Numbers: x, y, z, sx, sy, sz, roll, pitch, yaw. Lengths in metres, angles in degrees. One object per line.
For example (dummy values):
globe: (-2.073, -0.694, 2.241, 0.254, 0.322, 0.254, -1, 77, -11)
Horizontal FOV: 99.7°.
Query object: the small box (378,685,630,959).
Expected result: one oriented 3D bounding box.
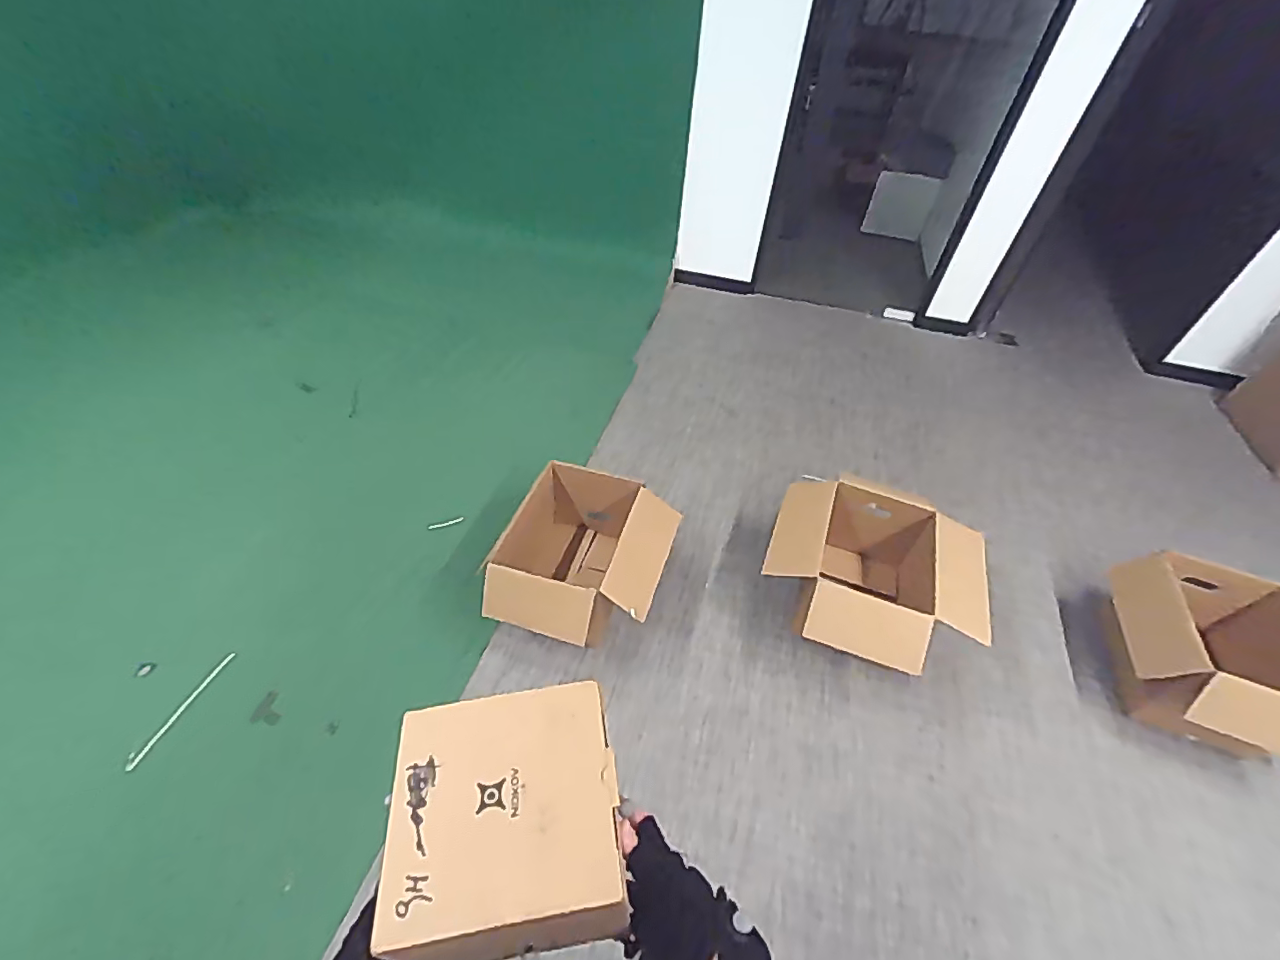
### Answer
small box: (-0.106, 0.311, 0.489, 0.179, 0.176, 0.168, -6, 44, -6)
